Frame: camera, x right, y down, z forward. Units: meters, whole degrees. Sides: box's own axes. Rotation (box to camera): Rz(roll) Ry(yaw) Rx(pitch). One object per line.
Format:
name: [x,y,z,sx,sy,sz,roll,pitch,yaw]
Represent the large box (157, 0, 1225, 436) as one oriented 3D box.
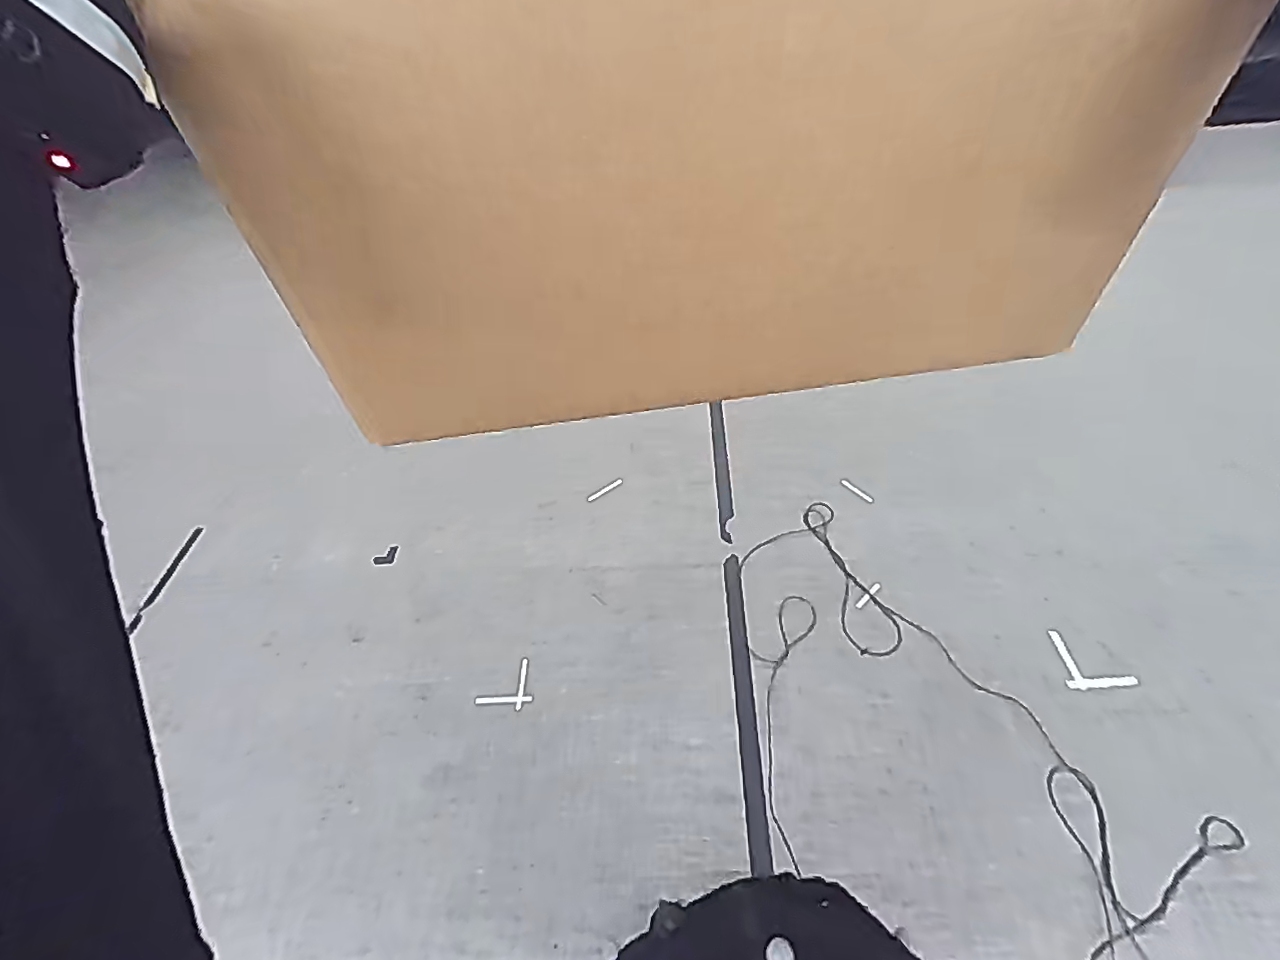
large box: [0.018,-0.258,0.313,0.408,0.320,0.320,-8,47,-3]
